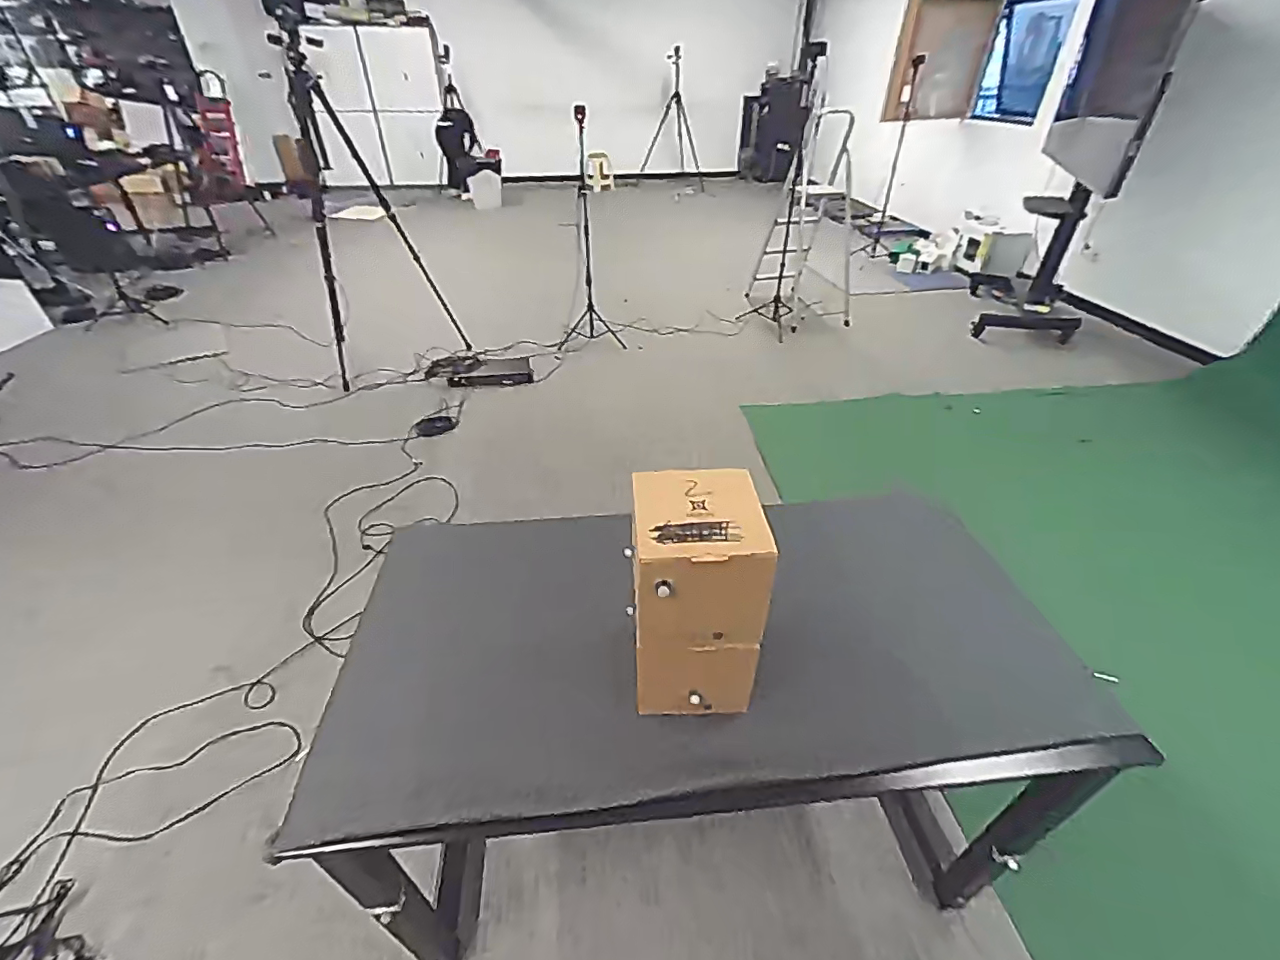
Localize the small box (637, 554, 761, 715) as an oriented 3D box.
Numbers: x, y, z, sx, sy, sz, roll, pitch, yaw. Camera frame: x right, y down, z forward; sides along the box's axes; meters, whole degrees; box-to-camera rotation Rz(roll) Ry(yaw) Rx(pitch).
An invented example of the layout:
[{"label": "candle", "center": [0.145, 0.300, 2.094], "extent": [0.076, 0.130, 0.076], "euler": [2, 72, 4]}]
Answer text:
[{"label": "small box", "center": [0.080, 0.233, 0.828], "extent": [0.168, 0.176, 0.179], "euler": [-1, 36, 0]}]
